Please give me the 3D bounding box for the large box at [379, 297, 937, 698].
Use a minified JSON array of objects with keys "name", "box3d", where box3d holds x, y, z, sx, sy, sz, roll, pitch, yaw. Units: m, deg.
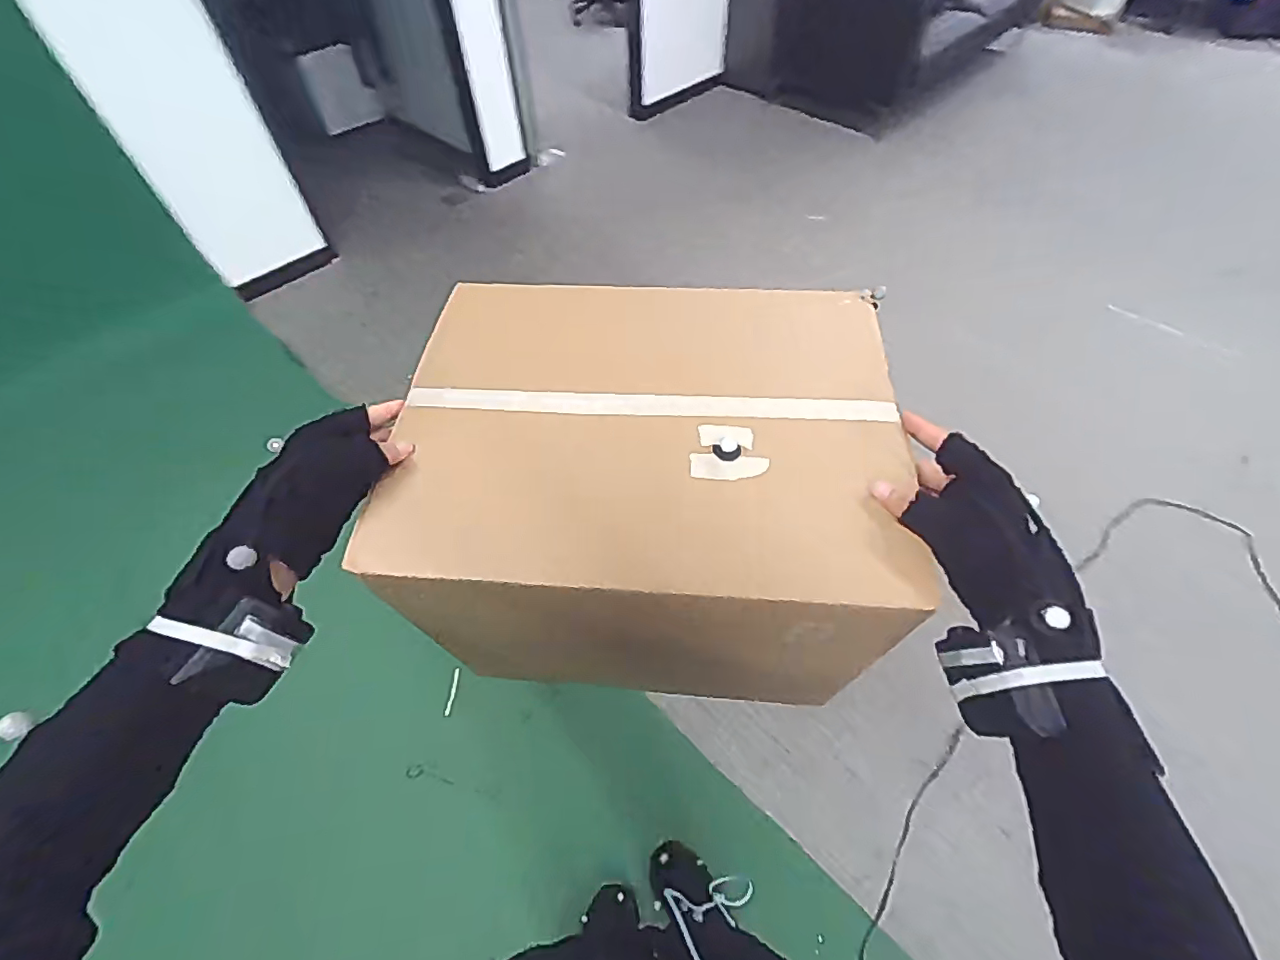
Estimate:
[{"name":"large box","box3d":[0.020,0.030,0.583,0.408,0.320,0.320,4,58,4]}]
